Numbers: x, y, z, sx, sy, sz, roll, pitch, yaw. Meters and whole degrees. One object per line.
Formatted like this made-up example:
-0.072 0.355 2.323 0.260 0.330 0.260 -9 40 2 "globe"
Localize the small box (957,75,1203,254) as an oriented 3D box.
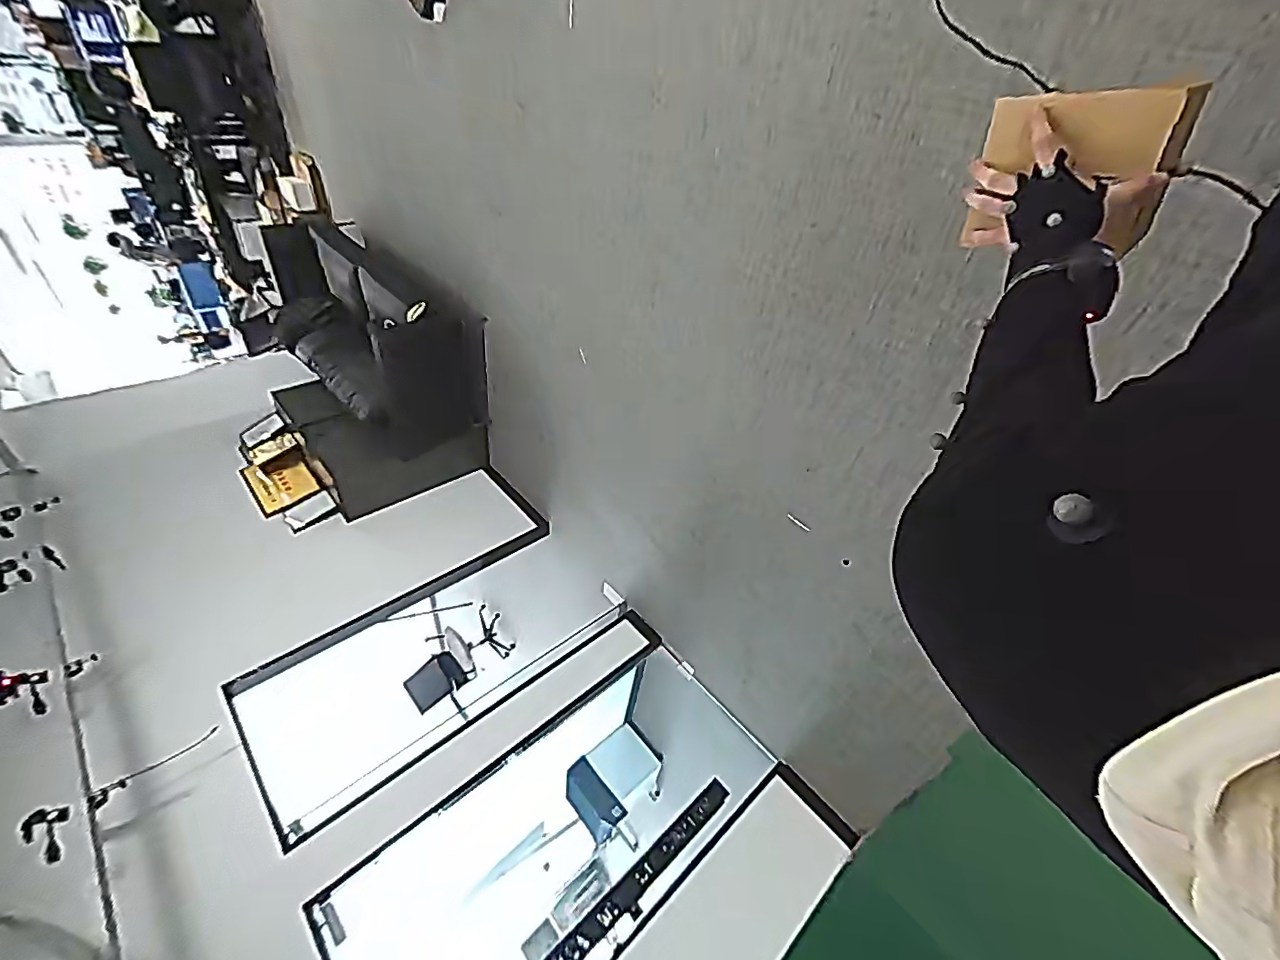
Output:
0.538 -0.393 0.673 0.179 0.176 0.168 28 137 38 "small box"
